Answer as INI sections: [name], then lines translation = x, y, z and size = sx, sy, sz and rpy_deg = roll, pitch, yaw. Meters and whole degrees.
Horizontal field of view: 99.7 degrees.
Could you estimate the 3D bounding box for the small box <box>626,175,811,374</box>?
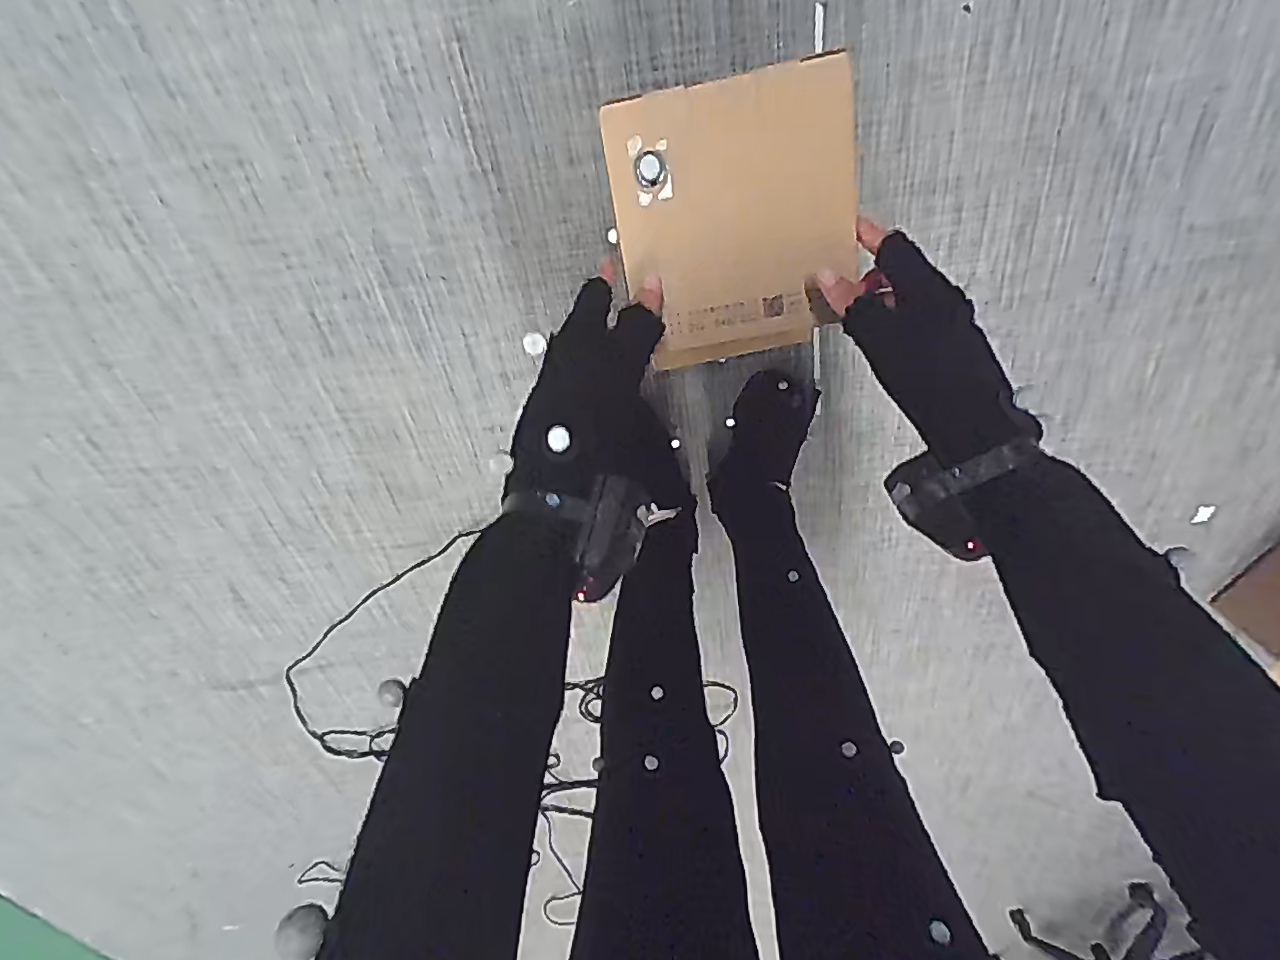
[small box]
translation = 0.088, -0.245, 0.632
size = 0.179, 0.176, 0.168
rpy_deg = -10, 120, 8
